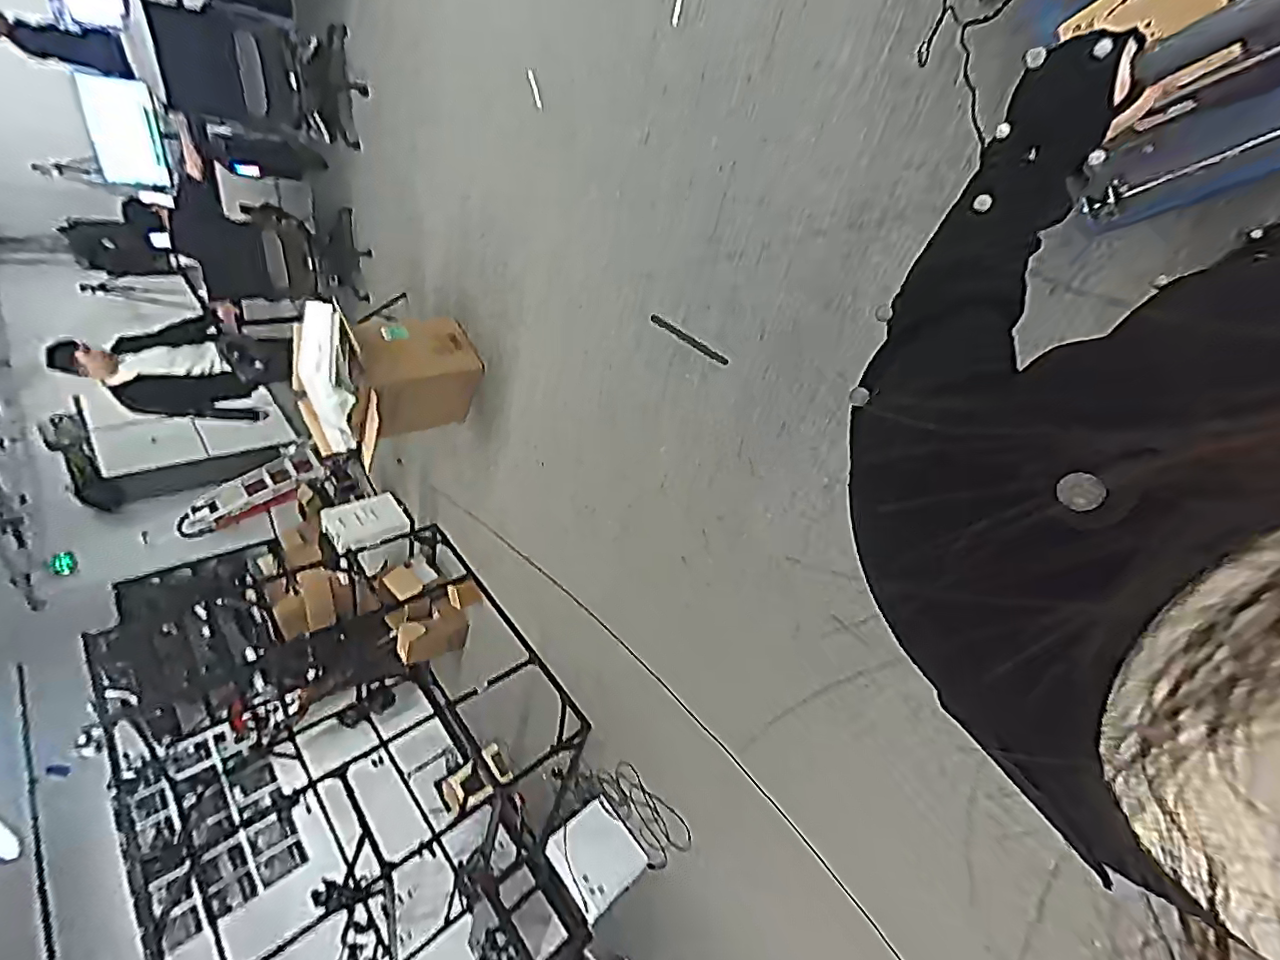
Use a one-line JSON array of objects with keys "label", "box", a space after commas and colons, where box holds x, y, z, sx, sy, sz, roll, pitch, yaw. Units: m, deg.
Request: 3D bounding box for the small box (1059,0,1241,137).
[{"label": "small box", "box": [0.775, -0.655, 0.822, 0.168, 0.176, 0.179, -16, 94, 49]}]
